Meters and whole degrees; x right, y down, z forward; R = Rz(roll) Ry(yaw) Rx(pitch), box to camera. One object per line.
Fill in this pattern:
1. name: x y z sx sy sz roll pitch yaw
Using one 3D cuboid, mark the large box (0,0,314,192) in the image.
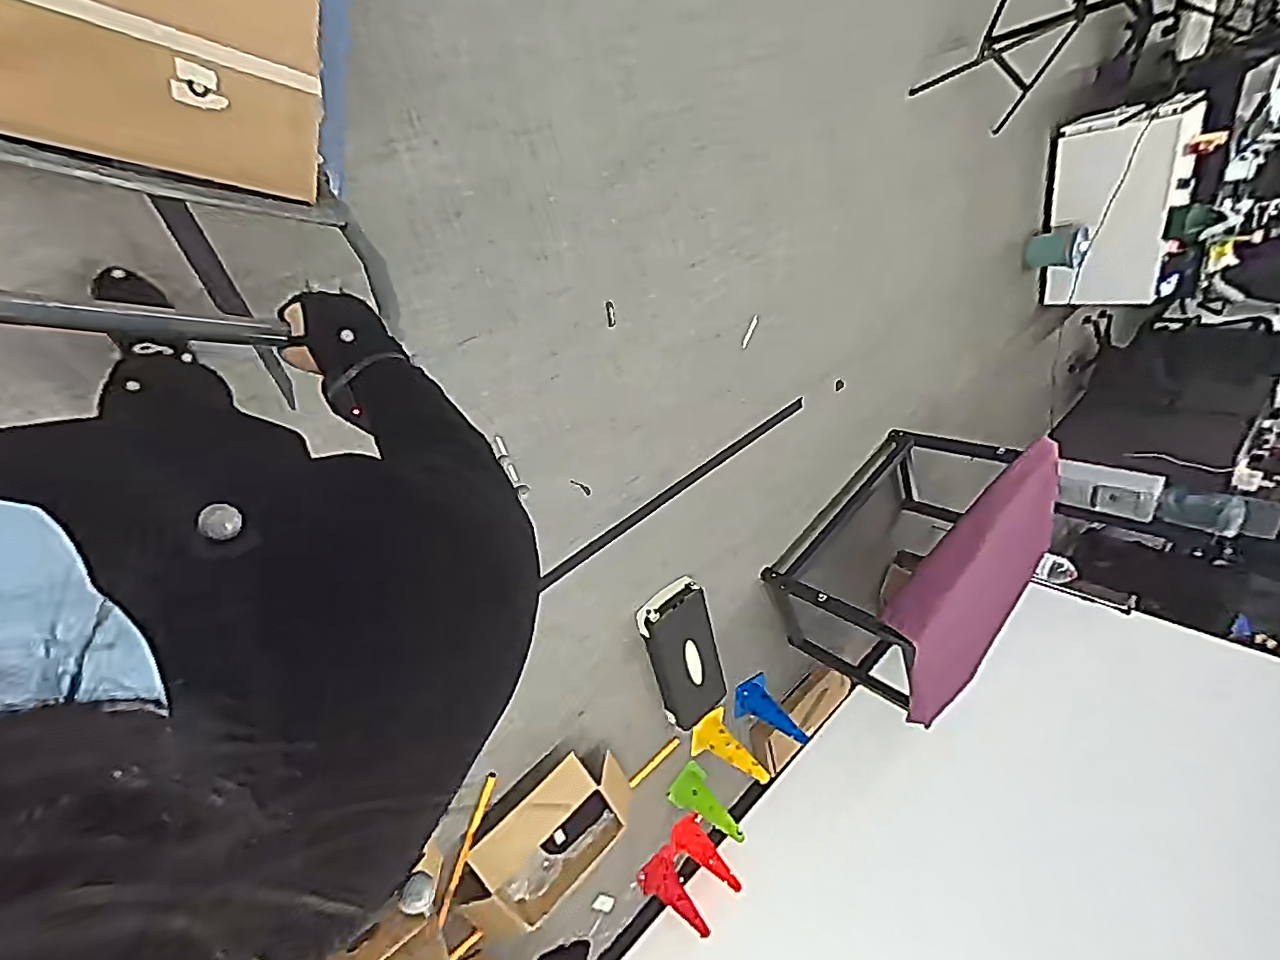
1. large box: -0.713 -0.640 0.751 0.408 0.320 0.320 -4 125 -39
